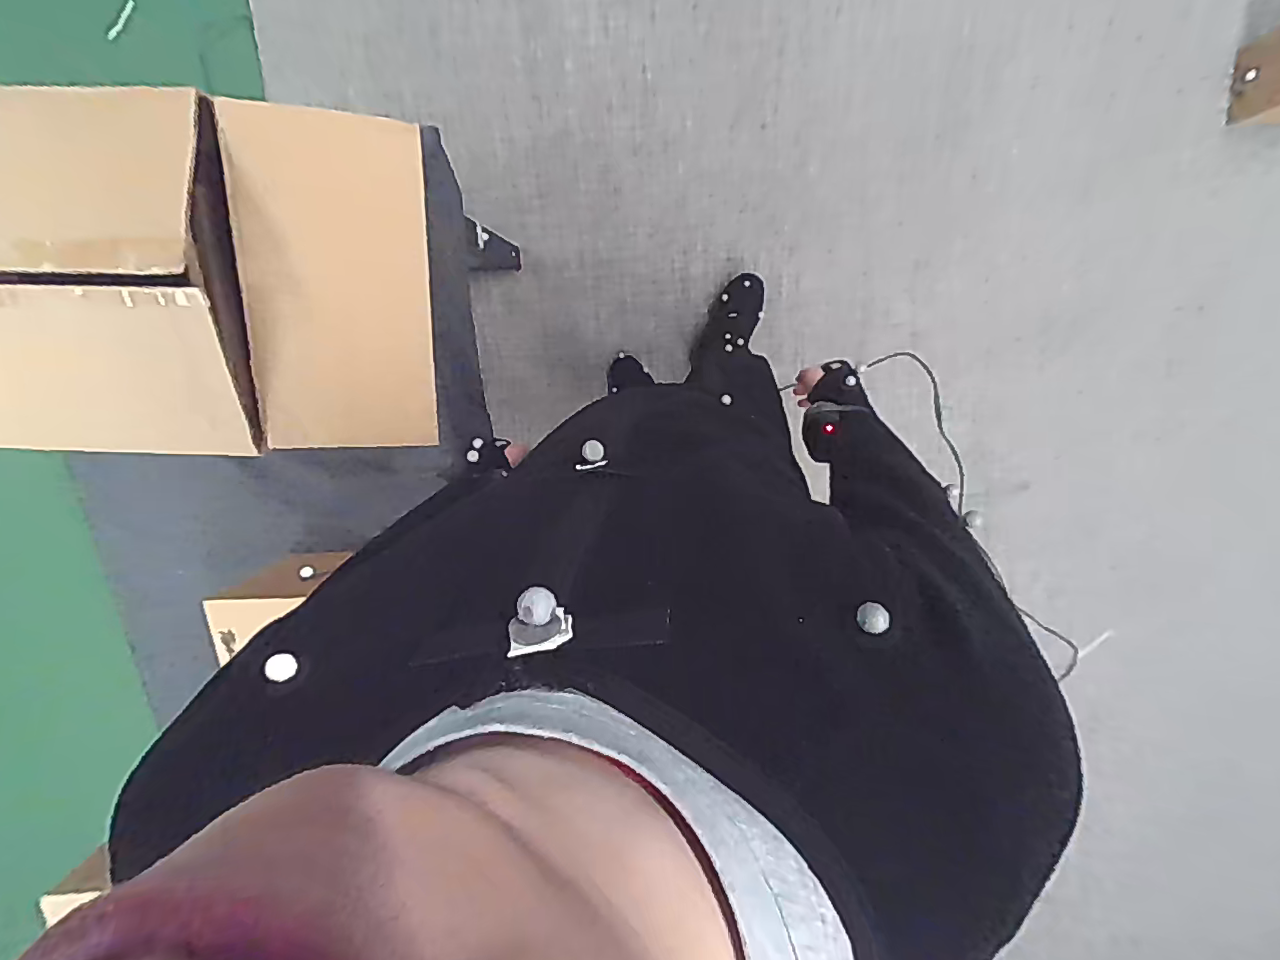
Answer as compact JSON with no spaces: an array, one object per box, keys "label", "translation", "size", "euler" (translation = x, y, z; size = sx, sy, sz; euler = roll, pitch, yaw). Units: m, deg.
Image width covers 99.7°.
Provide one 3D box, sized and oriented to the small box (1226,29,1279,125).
[{"label":"small box","translation":[1.442,-0.886,1.156],"size":[0.179,0.176,0.168],"euler":[-3,105,5]}]
